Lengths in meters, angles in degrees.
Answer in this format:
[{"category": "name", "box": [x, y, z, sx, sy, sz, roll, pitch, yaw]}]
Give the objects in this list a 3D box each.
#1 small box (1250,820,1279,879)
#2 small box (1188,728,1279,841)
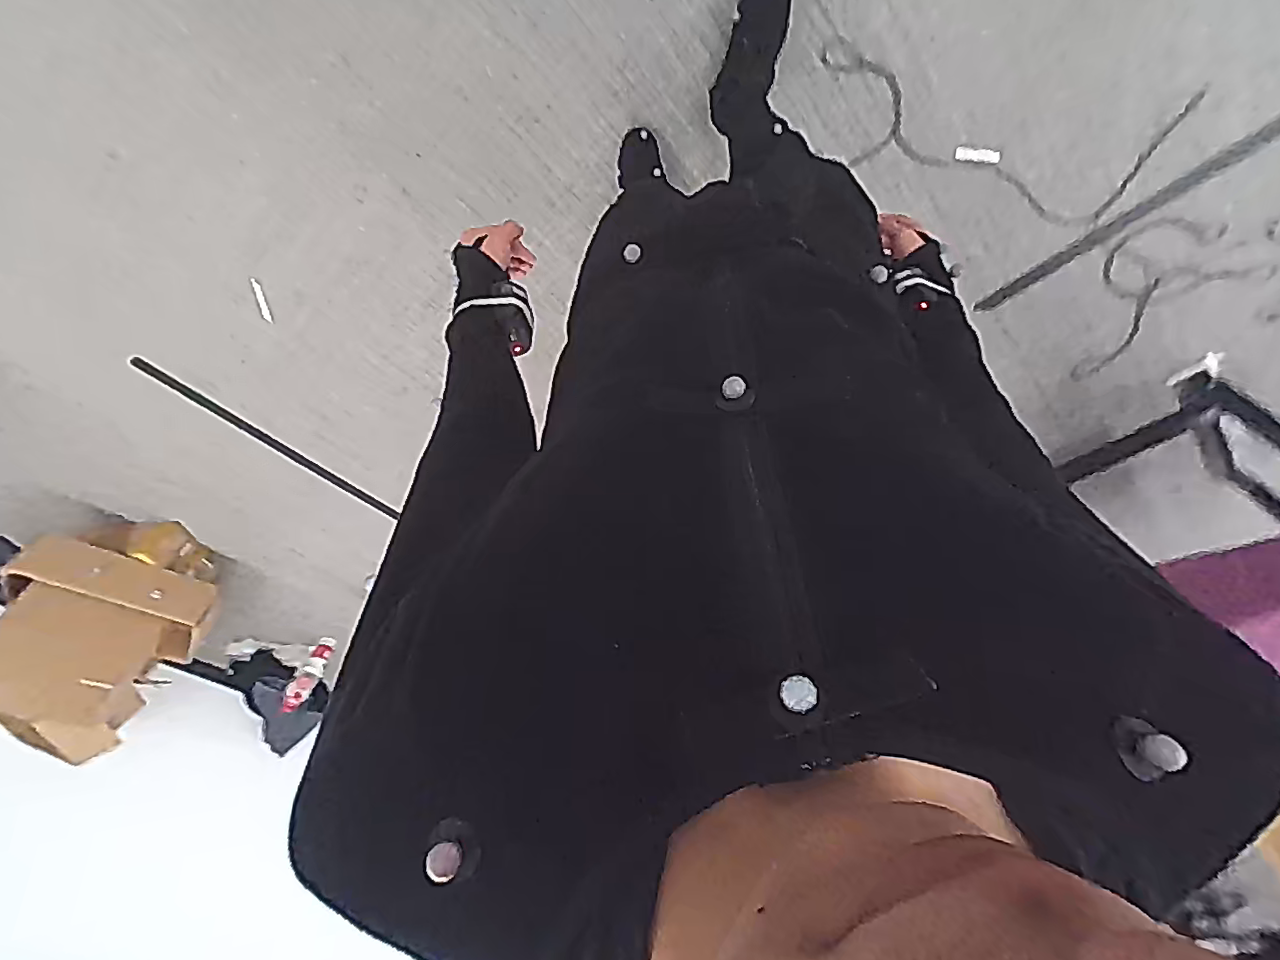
[{"category": "small box", "box": [1.395, 0.788, 1.086, 0.168, 0.176, 0.179, -33, 123, 27]}, {"category": "small box", "box": [1.395, 0.676, 1.205, 0.179, 0.176, 0.168, -32, 122, 27]}]
